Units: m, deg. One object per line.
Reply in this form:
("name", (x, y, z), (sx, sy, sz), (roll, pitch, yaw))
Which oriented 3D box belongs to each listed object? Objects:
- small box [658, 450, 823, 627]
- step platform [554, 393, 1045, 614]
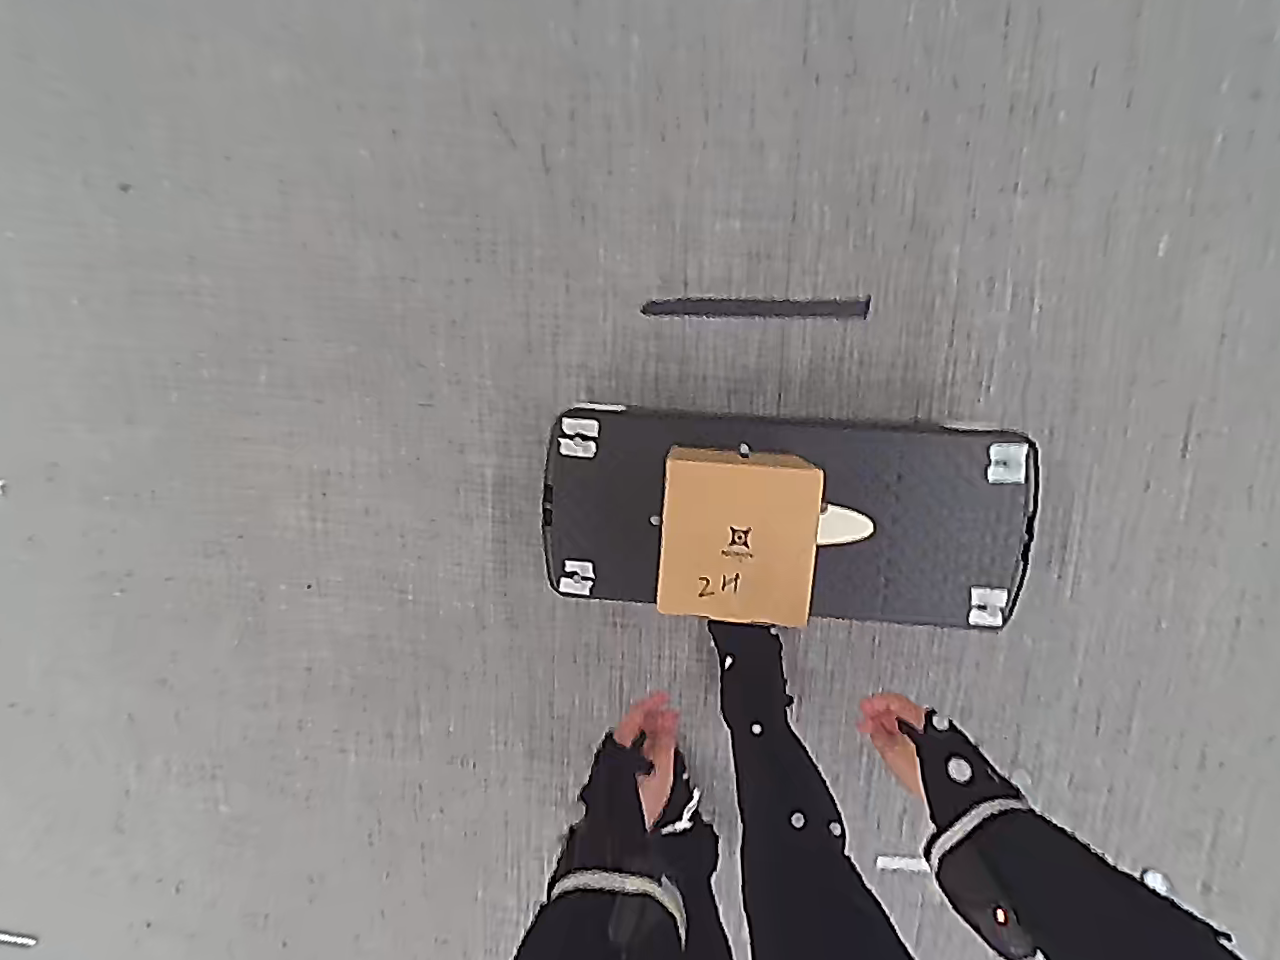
("small box", (0.114, 0.059, 0.668), (0.168, 0.176, 0.179), (5, 99, 5))
("step platform", (0.213, 0.023, 0.829), (0.684, 0.204, 0.286), (3, 98, 6))
